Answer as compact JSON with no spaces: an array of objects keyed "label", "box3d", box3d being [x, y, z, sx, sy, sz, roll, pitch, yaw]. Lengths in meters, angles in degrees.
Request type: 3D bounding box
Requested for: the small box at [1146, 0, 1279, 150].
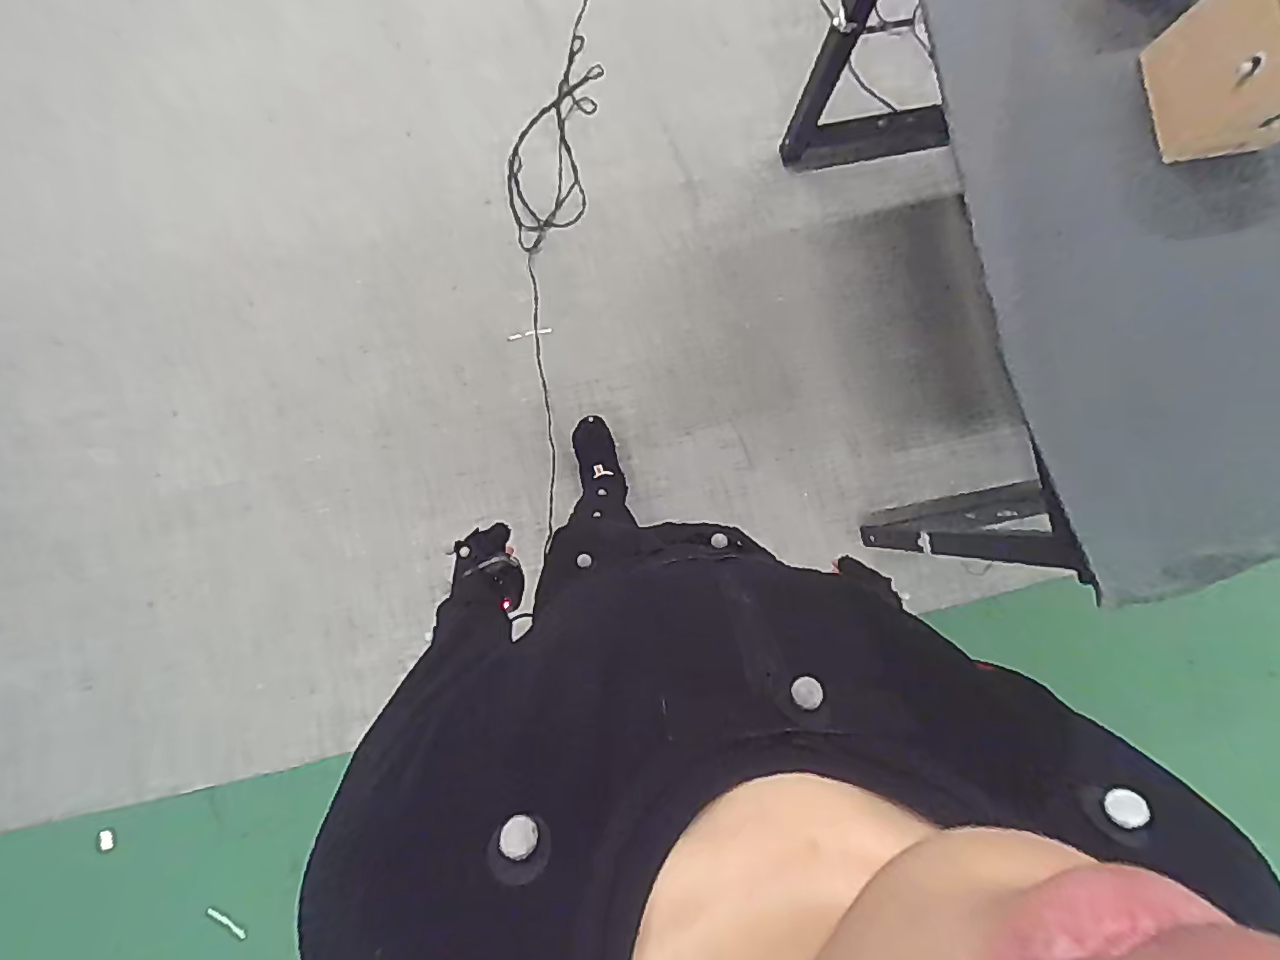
[{"label":"small box","box3d":[0.852,-0.579,0.732,0.168,0.176,0.179,-9,87,-2]}]
